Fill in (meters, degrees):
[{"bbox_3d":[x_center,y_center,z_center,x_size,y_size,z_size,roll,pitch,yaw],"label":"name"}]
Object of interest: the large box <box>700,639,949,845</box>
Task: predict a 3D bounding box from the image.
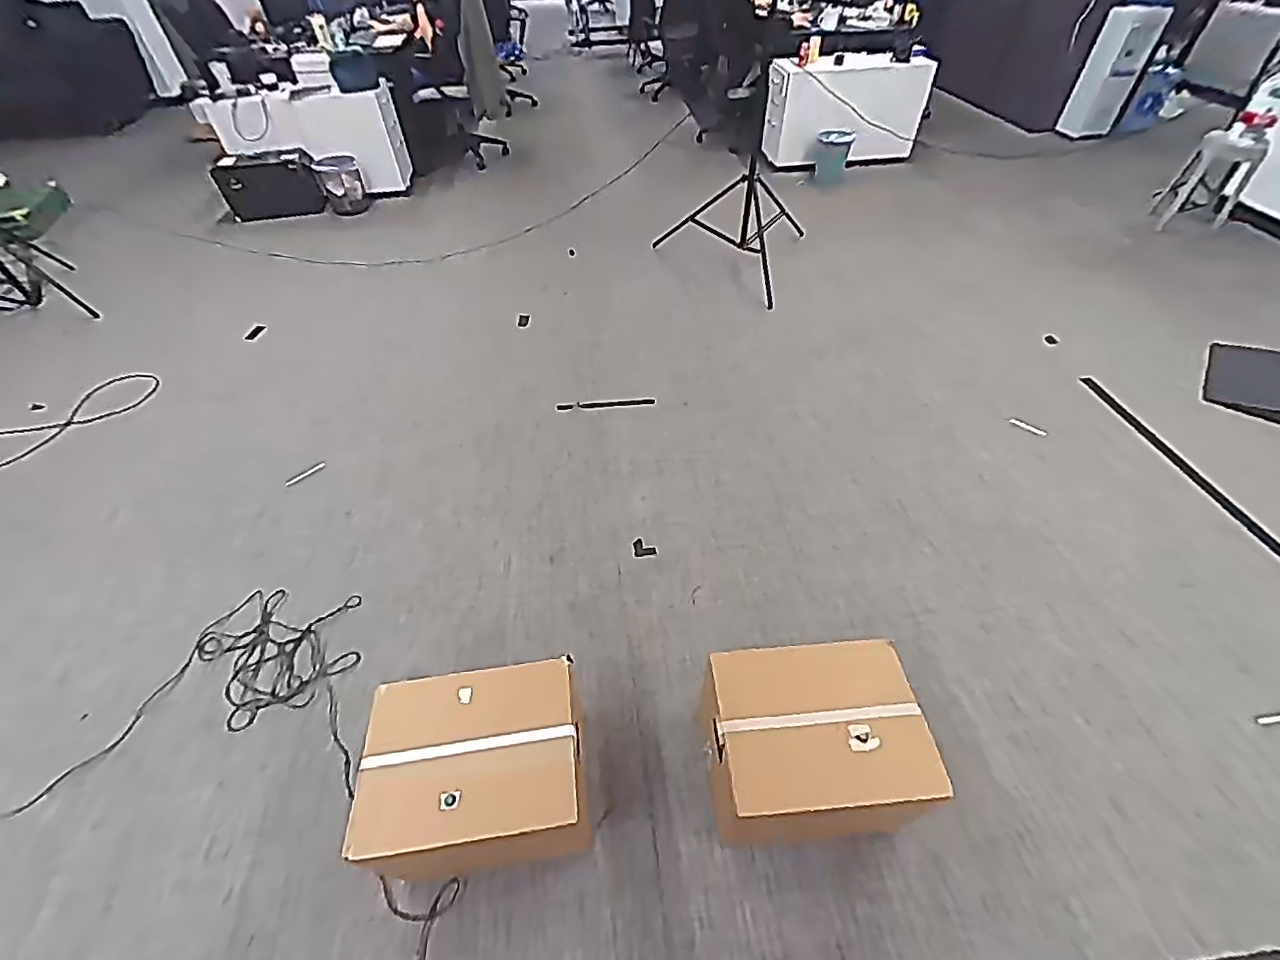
[{"bbox_3d":[0.365,0.581,1.197,0.408,0.320,0.320,-3,48,-3],"label":"large box"}]
